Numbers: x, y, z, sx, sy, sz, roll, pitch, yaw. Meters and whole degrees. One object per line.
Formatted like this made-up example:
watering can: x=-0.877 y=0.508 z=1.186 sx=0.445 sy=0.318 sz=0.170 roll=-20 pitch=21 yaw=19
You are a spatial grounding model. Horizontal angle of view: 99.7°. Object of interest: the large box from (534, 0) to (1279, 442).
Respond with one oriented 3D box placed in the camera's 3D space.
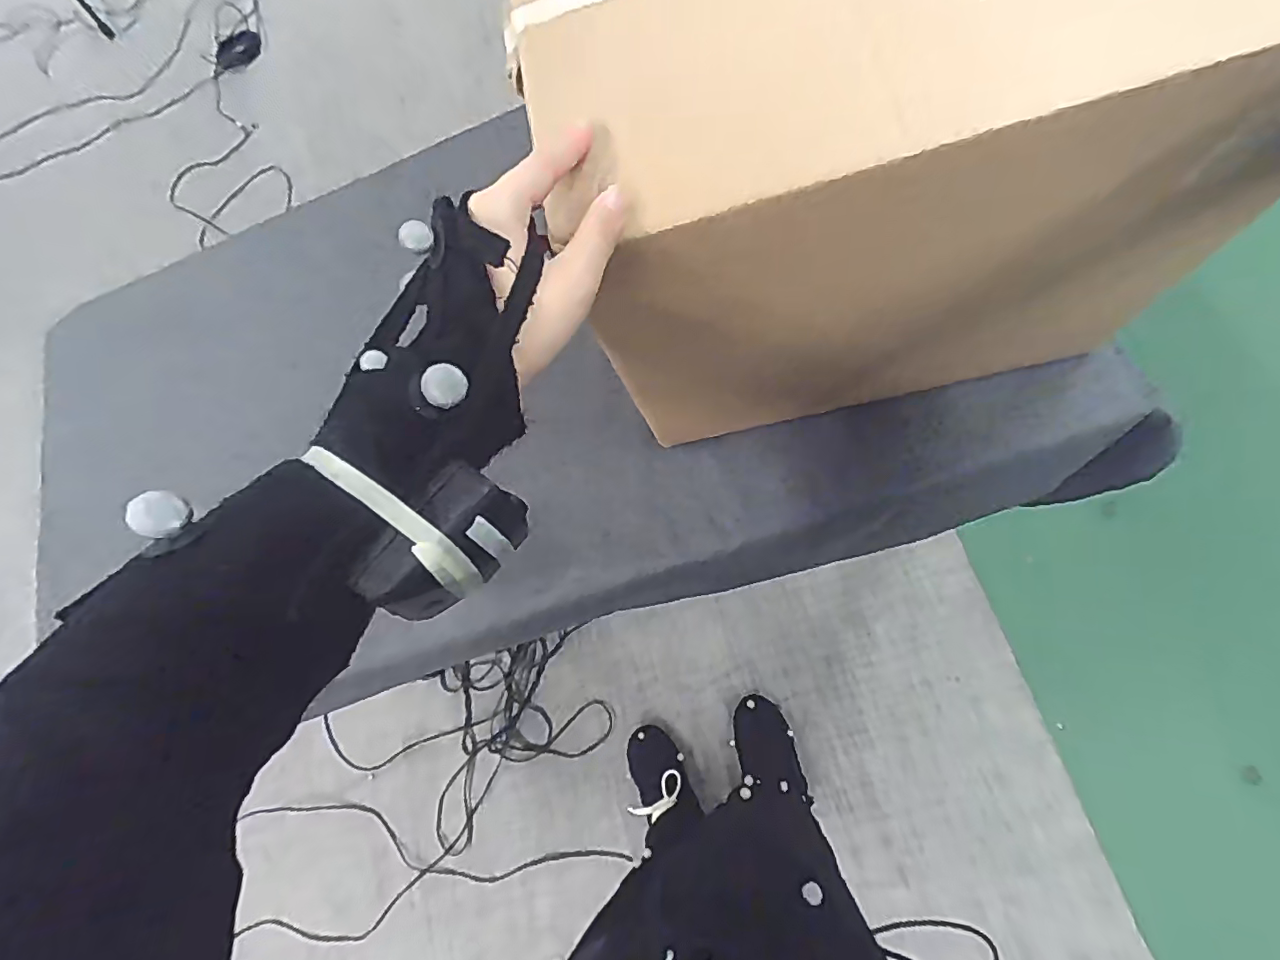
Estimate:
large box: x=0.162 y=-0.258 z=0.422 sx=0.408 sy=0.320 sz=0.320 roll=-12 pitch=74 yaw=8
